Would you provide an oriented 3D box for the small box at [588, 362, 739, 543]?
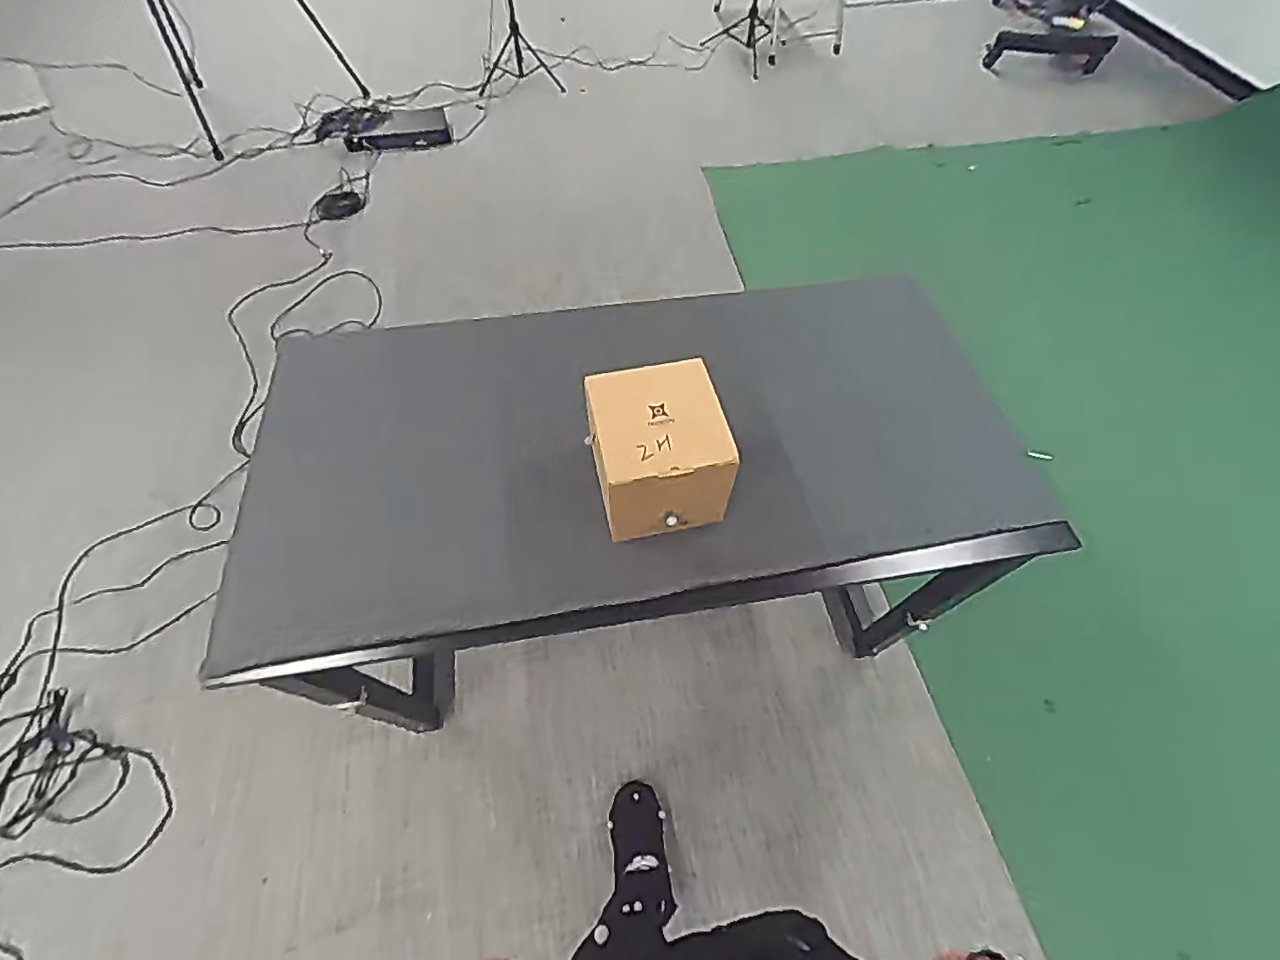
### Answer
[{"bbox_3d":[0.023,-0.035,0.756,0.168,0.176,0.179,-11,58,-7],"label":"small box"}]
